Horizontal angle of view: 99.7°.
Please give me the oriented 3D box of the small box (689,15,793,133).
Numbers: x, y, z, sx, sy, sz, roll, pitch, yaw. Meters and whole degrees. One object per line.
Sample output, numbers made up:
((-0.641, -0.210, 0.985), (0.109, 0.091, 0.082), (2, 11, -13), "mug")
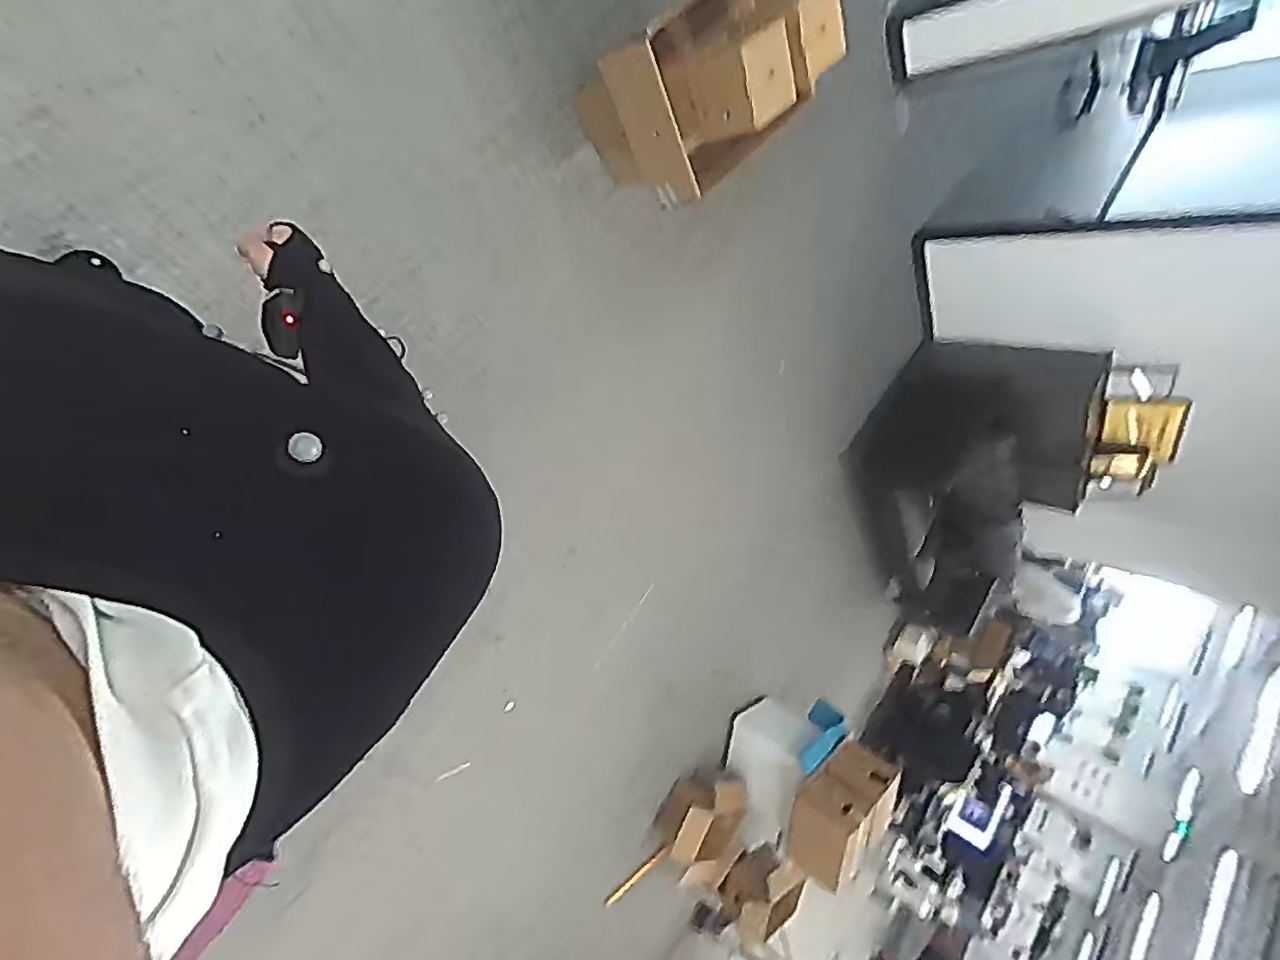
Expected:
((0.237, -0.962, 1.296), (0.179, 0.176, 0.168), (-47, 133, -22), "small box")

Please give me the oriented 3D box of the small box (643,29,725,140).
((0.128, -1.017, 1.405), (0.179, 0.176, 0.168), (-49, 134, -21), "small box")

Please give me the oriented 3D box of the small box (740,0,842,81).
((0.385, -1.139, 1.378), (0.179, 0.176, 0.168), (-47, 133, -18), "small box")
